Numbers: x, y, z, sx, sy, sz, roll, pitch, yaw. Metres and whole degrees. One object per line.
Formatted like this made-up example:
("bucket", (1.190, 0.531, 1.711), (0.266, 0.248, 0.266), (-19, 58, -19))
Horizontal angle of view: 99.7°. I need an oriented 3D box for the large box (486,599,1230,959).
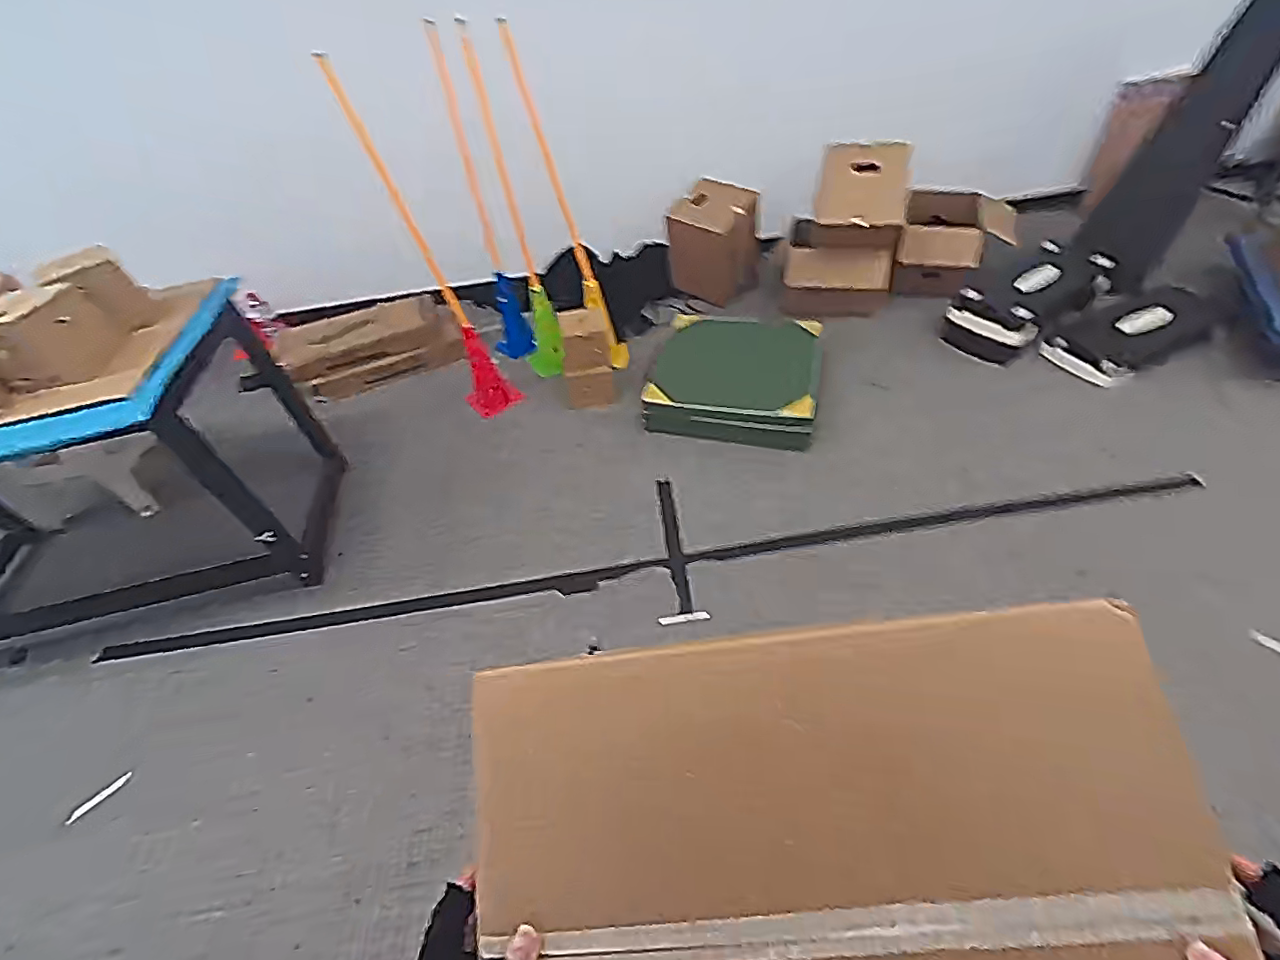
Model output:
("large box", (0.127, 0.291, 0.450), (0.408, 0.320, 0.320), (-9, 74, 7))
